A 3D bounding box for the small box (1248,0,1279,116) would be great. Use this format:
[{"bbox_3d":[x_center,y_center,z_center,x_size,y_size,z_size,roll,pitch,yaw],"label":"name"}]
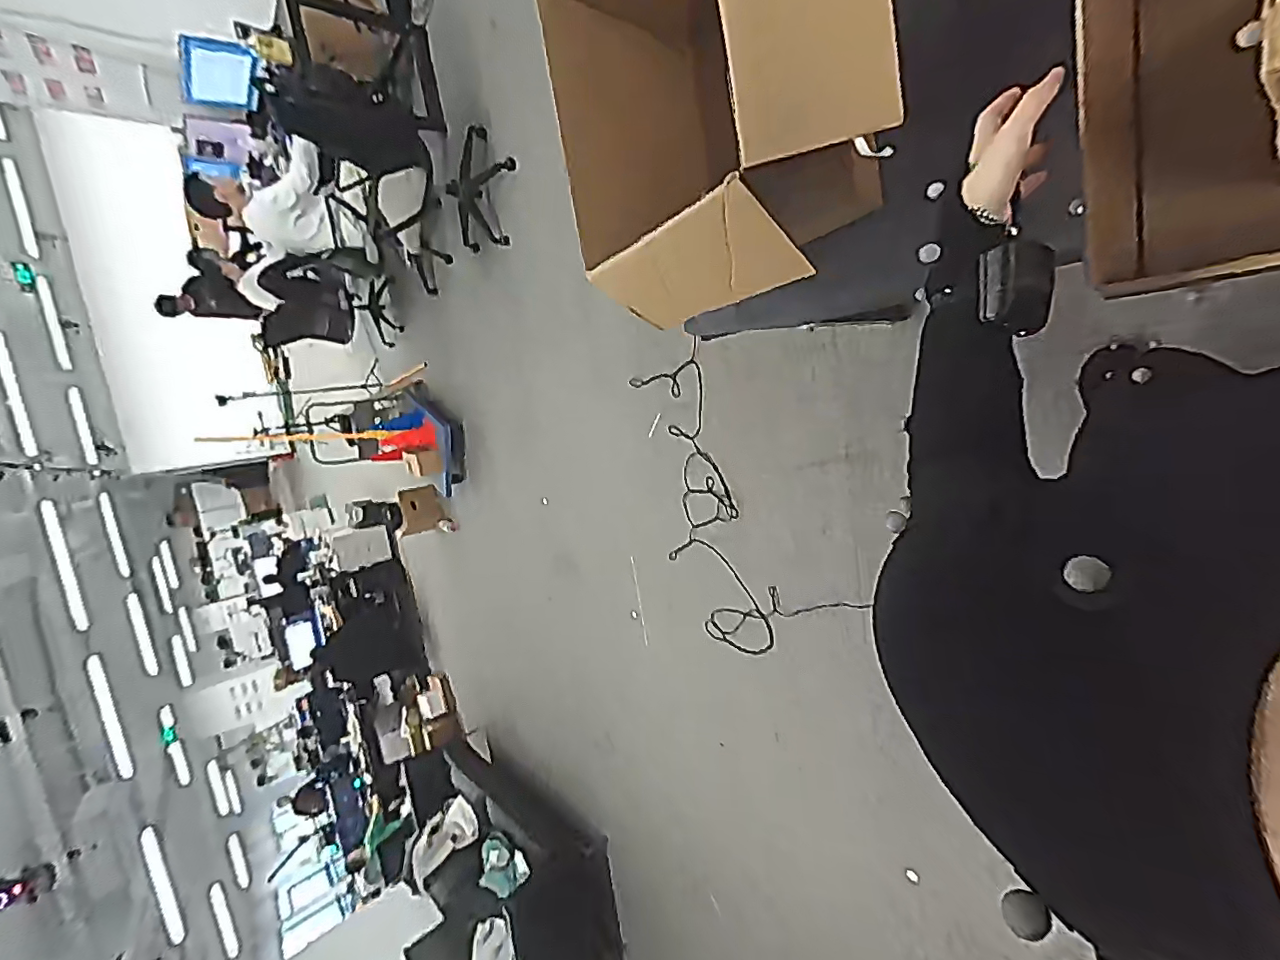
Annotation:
[{"bbox_3d":[0.409,-0.288,0.235,0.179,0.176,0.168,5,107,51],"label":"small box"}]
